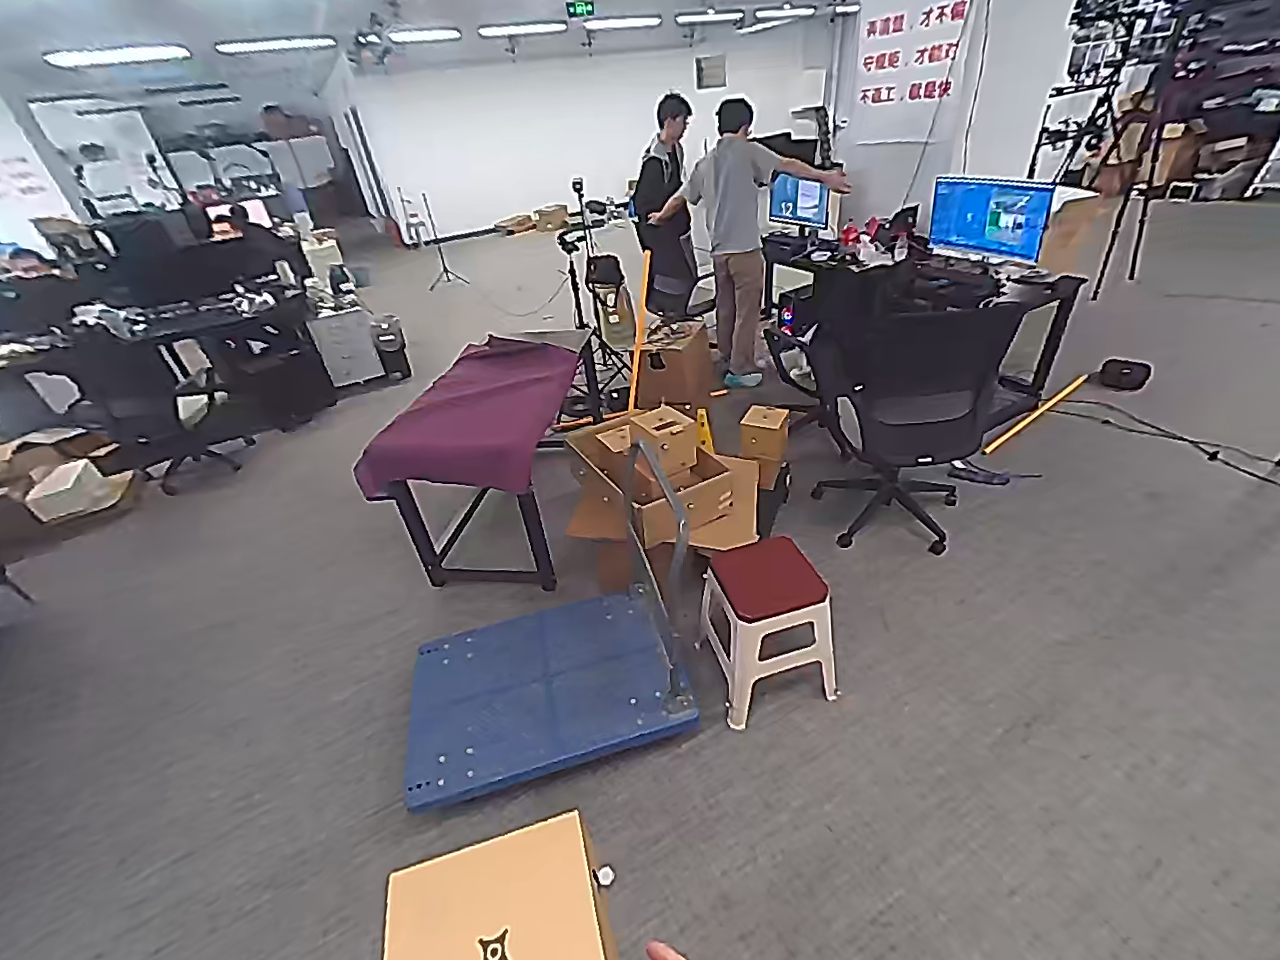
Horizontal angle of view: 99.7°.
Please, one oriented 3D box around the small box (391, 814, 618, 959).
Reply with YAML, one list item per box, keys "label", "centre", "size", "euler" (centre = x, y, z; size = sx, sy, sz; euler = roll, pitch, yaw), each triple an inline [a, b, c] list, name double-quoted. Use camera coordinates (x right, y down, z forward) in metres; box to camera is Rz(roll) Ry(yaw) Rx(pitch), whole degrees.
- label: "small box"
  centre: [-0.106, 0.434, 0.468]
  size: [0.168, 0.176, 0.179]
  euler: [-13, 41, -9]
